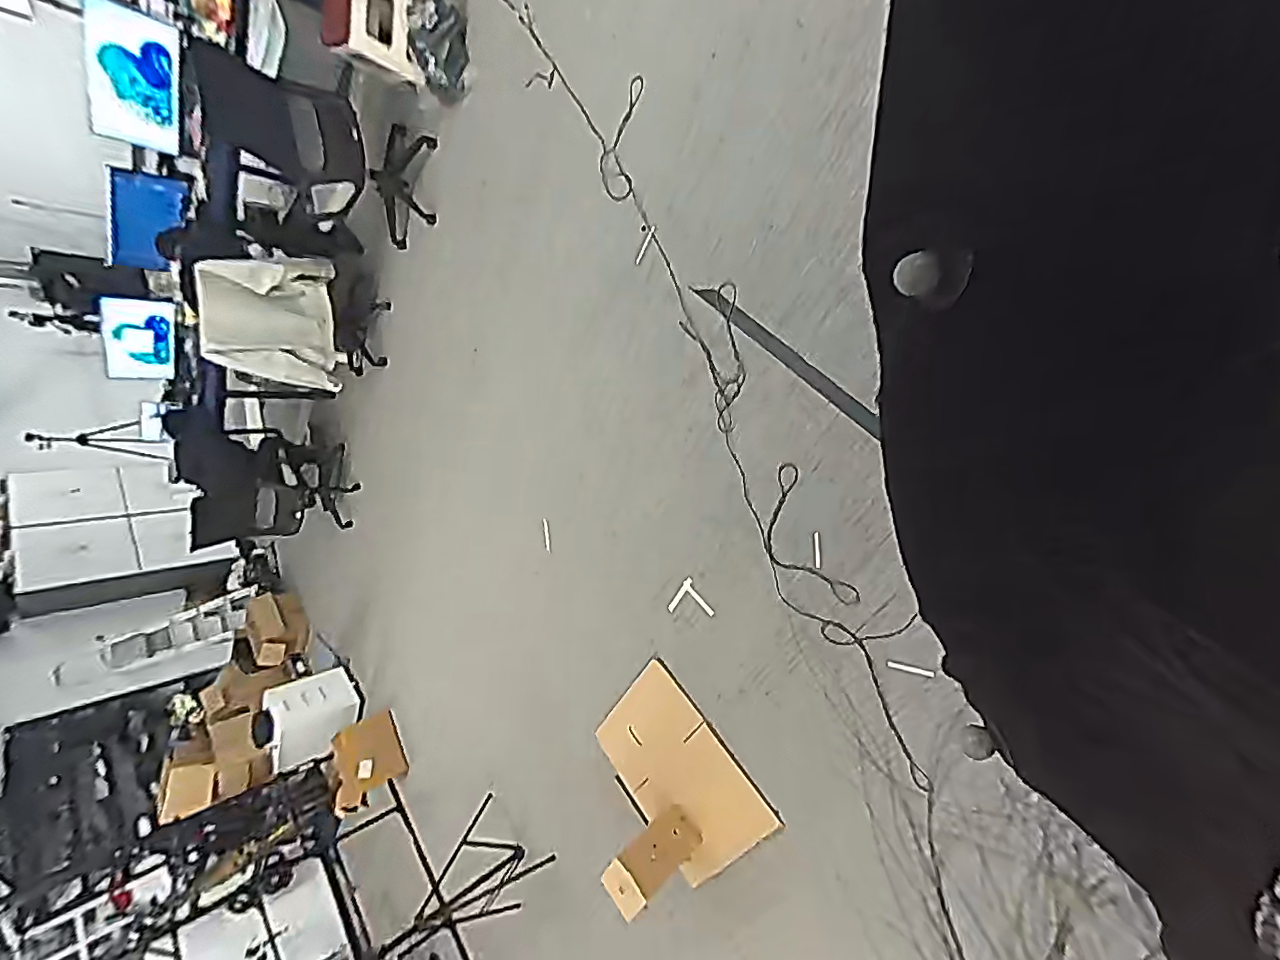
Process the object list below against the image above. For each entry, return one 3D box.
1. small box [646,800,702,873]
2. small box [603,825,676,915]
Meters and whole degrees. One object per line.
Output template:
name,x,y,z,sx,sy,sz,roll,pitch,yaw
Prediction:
small box,0.110,1.368,2.059,0.168,0.176,0.179,41,121,30
small box,0.002,1.391,1.937,0.168,0.176,0.179,42,123,29
